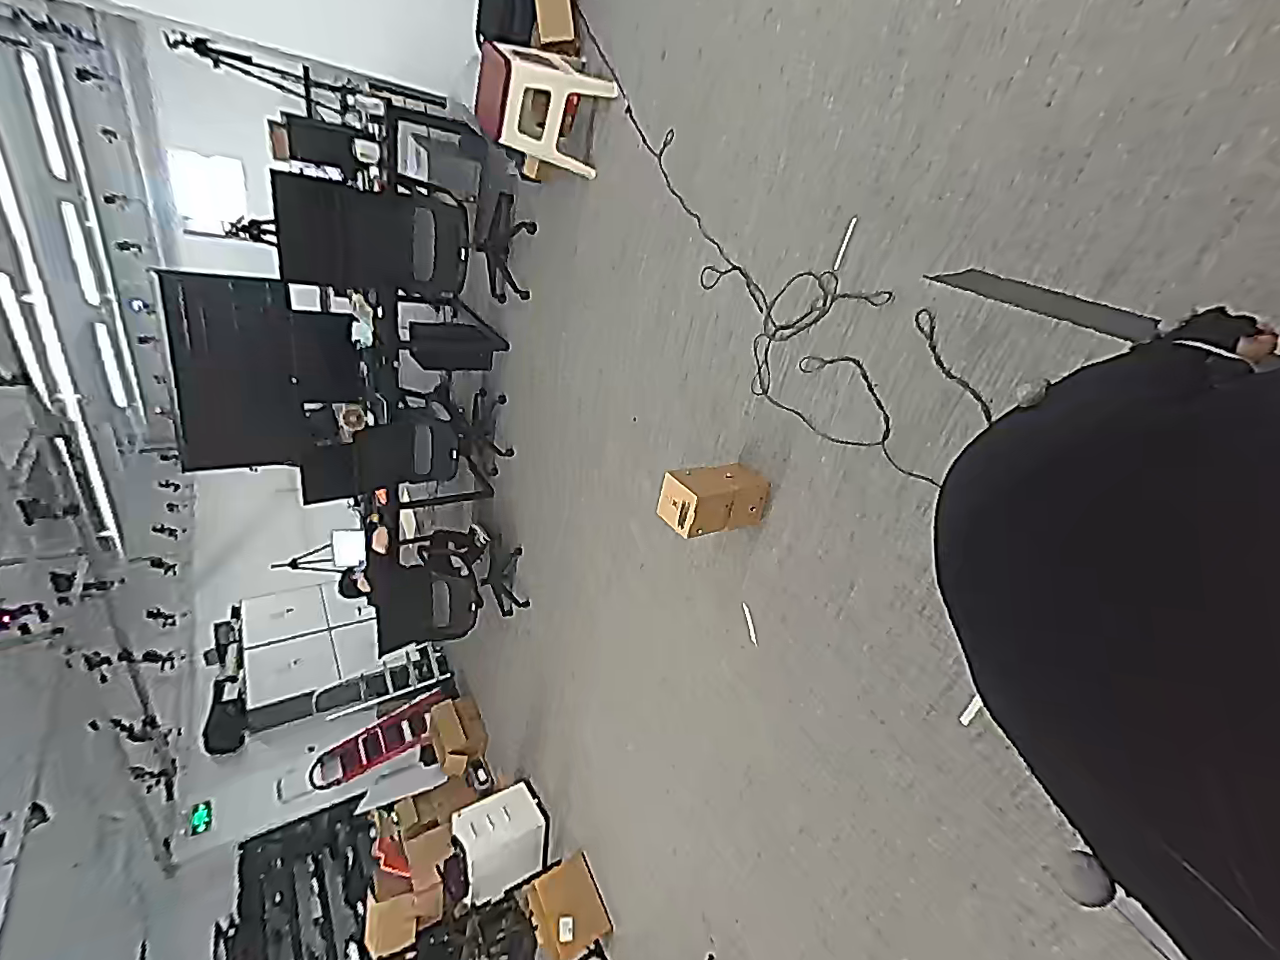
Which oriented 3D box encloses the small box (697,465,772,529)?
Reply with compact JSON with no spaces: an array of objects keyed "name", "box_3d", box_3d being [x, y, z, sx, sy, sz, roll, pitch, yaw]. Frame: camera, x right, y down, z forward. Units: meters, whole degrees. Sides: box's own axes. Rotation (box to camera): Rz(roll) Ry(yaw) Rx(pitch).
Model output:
[{"name":"small box","box_3d":[0.332,0.052,1.909,0.179,0.176,0.168,36,126,46]}]
